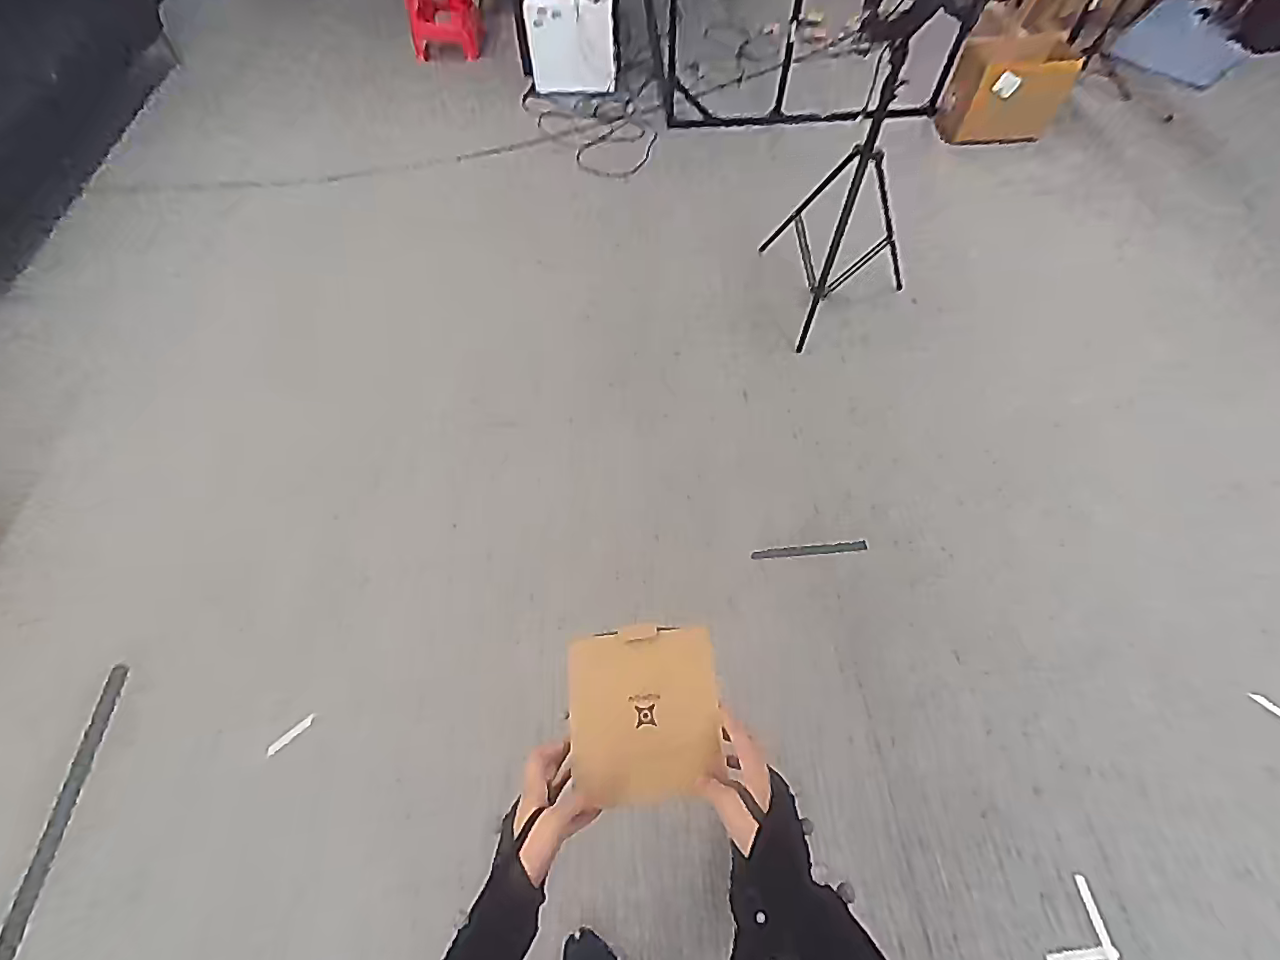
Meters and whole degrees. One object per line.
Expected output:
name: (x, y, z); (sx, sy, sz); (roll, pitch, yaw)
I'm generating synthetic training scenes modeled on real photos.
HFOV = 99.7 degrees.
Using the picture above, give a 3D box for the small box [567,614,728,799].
small box: (-0.002, 0.270, 0.653); (0.168, 0.176, 0.179); (-3, 66, -5)
